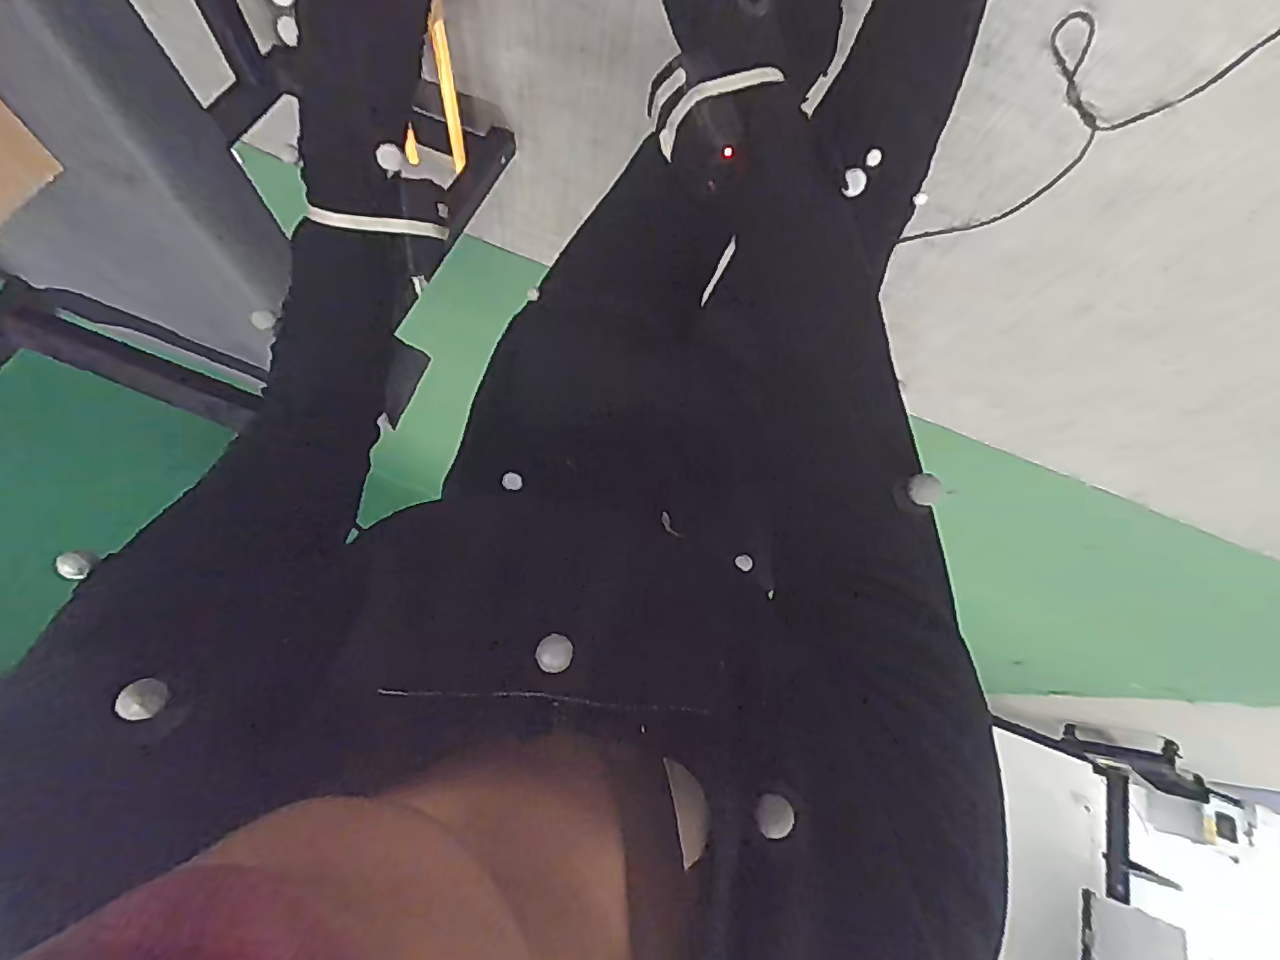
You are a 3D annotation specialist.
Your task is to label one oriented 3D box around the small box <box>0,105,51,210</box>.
[{"bbox_3d":[-0.664,-0.306,0.431,0.168,0.176,0.179,22,157,-3],"label":"small box"}]
